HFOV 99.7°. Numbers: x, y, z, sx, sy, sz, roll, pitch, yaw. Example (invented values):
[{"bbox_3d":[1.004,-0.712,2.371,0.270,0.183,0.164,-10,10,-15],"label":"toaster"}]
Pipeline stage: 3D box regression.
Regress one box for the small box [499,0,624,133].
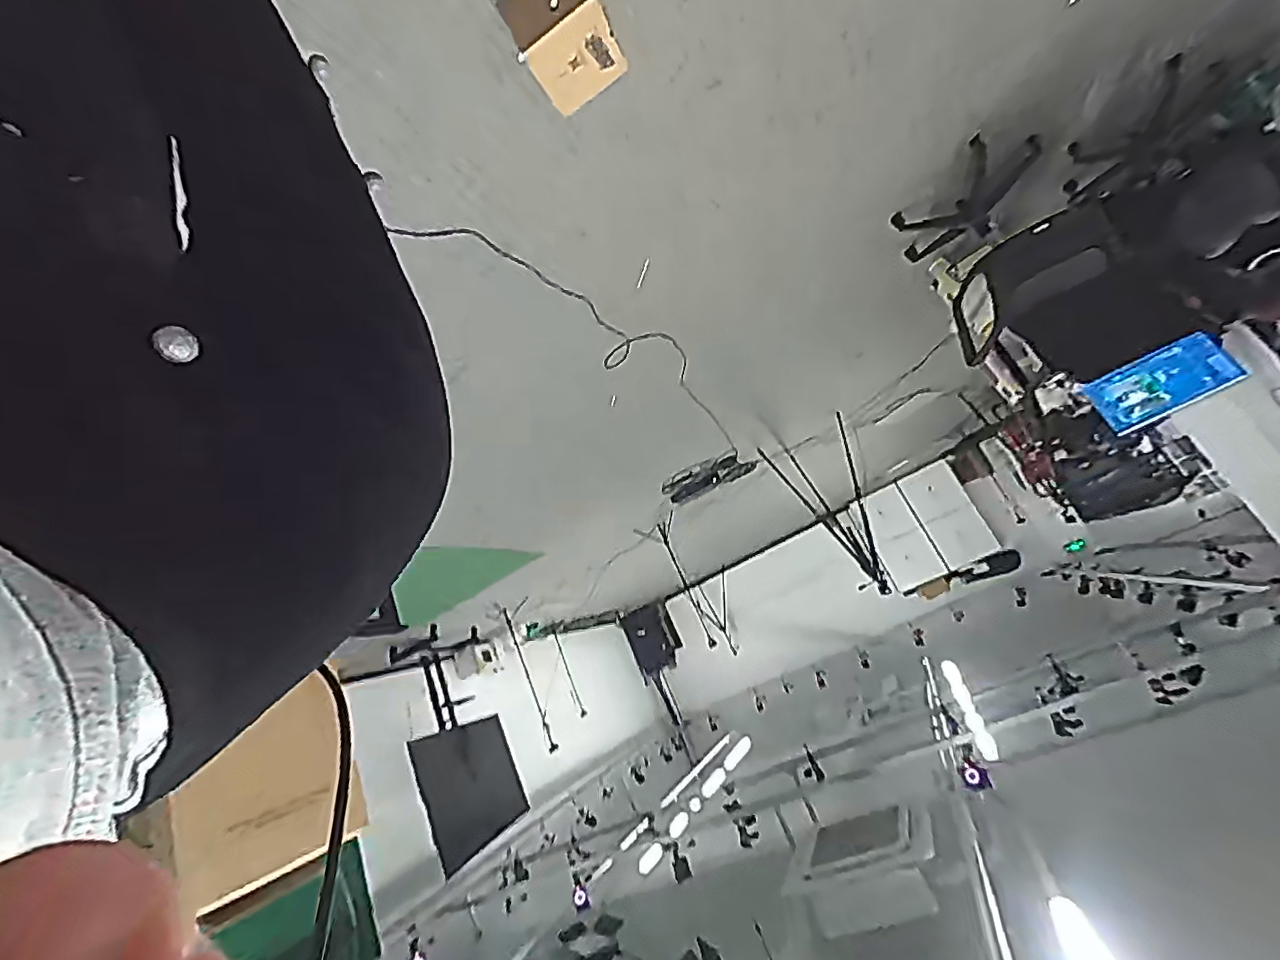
[{"bbox_3d":[-0.168,-0.901,1.142,0.179,0.176,0.168,-31,159,15],"label":"small box"}]
